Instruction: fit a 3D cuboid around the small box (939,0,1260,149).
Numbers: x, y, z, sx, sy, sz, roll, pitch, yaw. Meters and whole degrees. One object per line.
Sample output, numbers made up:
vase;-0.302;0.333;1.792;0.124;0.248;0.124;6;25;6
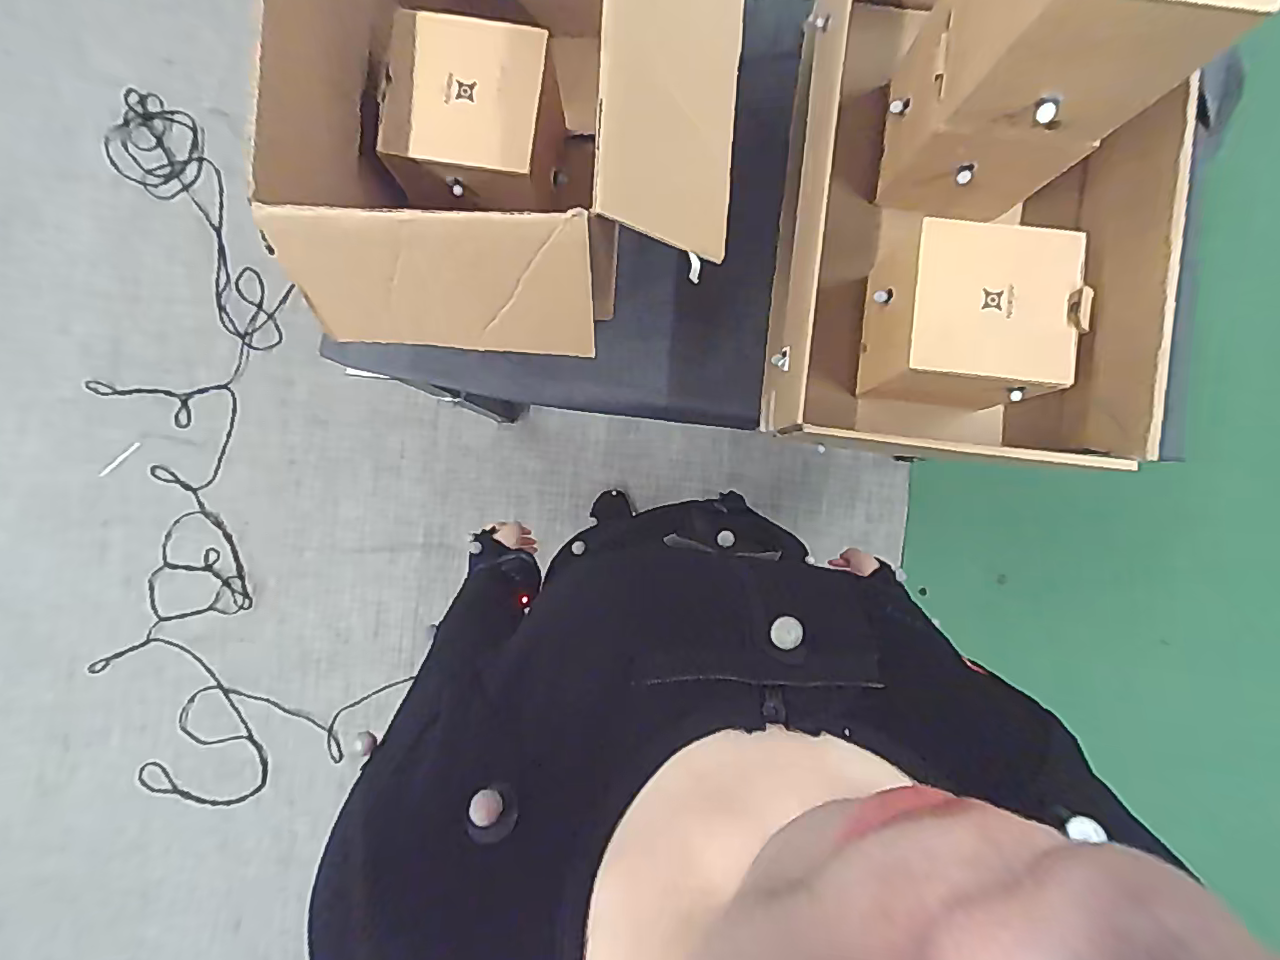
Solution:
small box;0.404;-0.447;0.495;0.168;0.176;0.179;7;92;0
